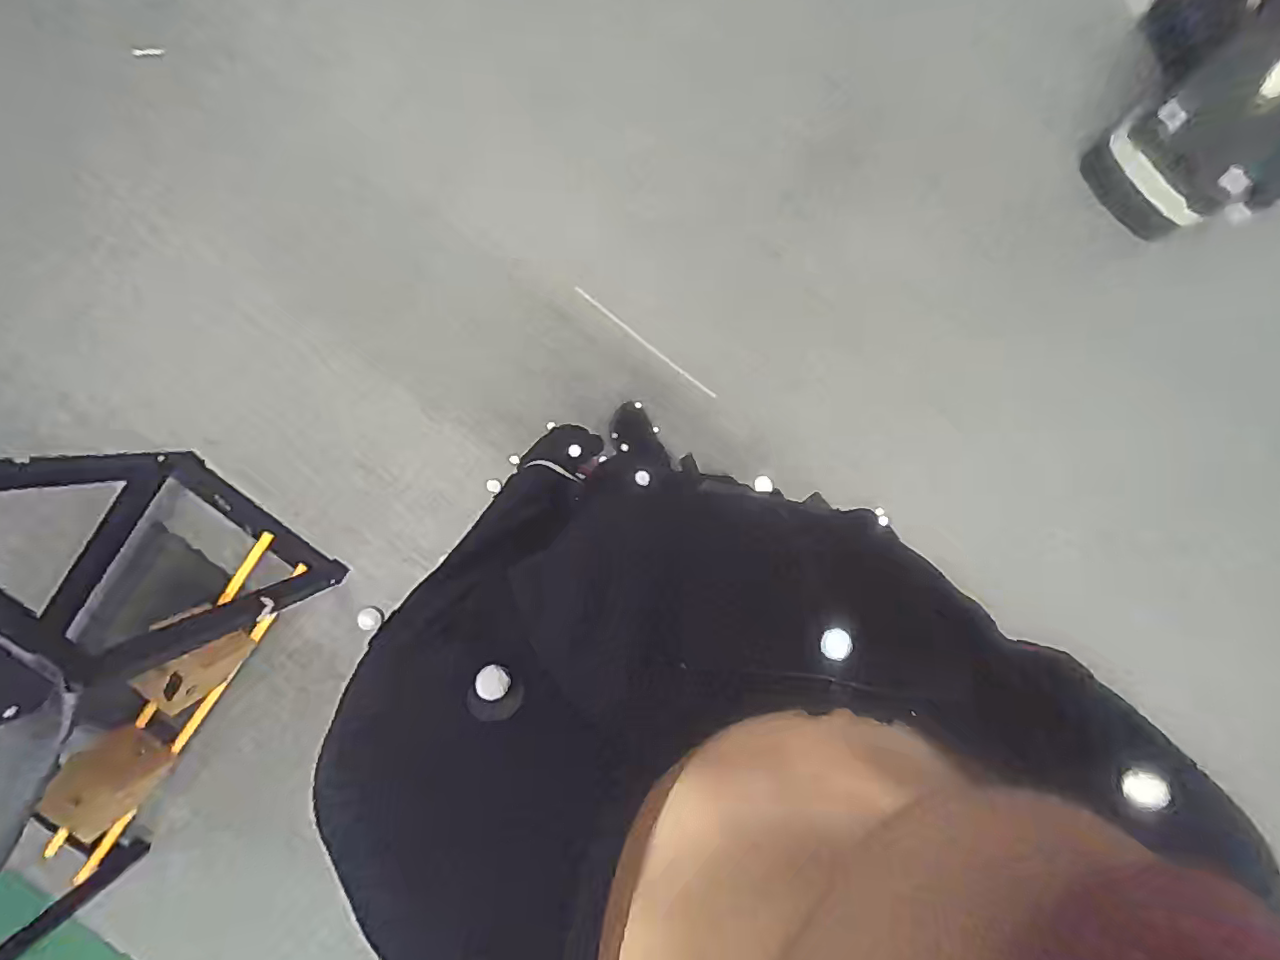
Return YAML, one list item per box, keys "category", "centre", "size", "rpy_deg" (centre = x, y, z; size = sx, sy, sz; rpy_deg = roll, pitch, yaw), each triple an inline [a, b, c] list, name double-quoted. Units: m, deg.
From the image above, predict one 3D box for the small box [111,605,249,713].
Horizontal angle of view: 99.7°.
- category: "small box"
  centre: [-1.171, 0.450, 1.393]
  size: [0.179, 0.176, 0.168]
  rpy_deg: [41, 95, -2]
